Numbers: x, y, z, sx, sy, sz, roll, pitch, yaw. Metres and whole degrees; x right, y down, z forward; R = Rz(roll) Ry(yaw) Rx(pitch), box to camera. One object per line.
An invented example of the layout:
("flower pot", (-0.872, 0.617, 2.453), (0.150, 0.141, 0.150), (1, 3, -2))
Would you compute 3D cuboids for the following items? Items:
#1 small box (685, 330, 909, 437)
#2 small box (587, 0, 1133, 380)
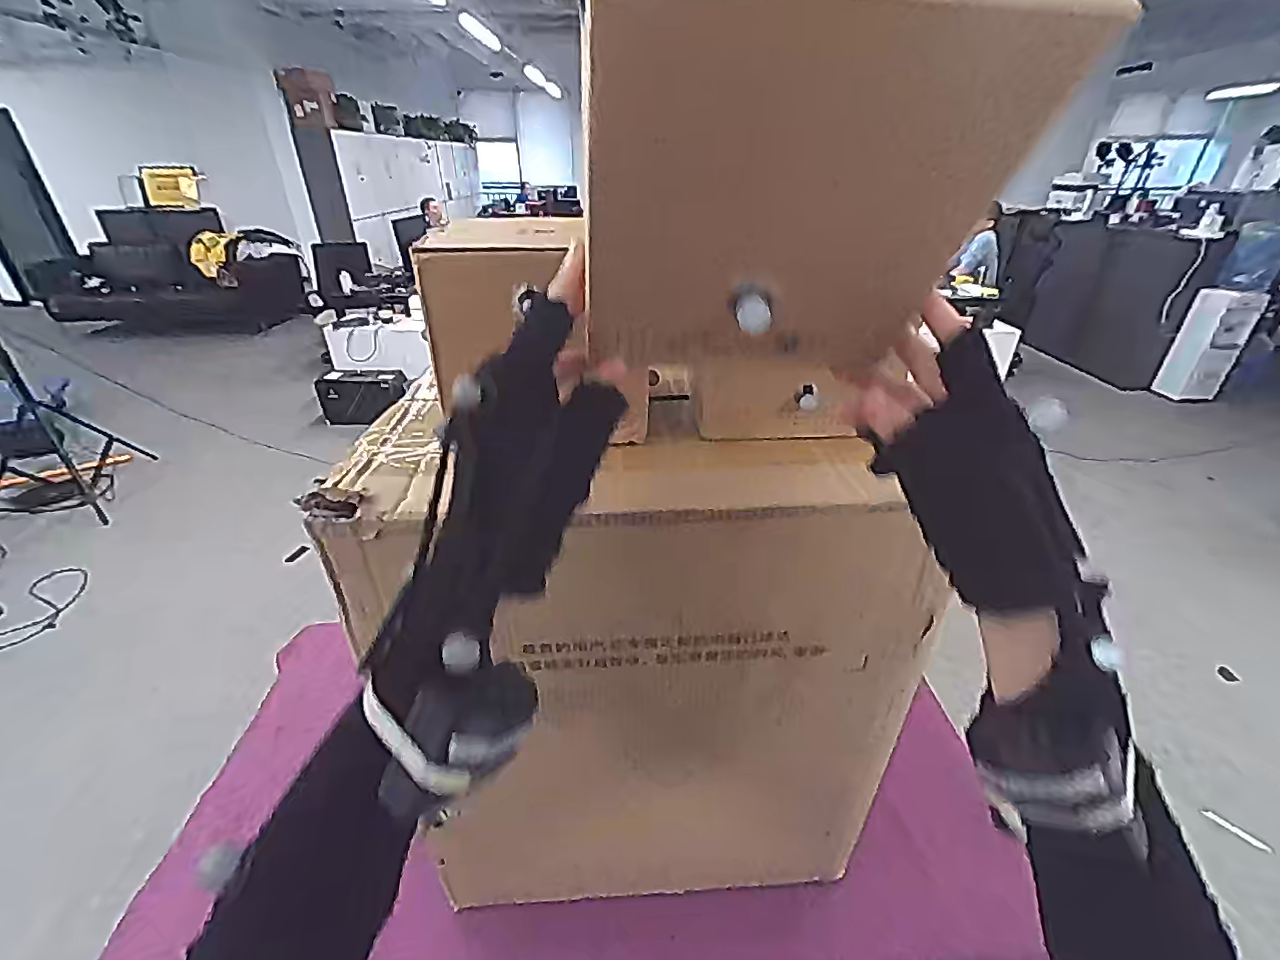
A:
("small box", (0.139, -0.150, 0.520), (0.179, 0.176, 0.168), (-2, 30, -1))
("small box", (0.058, -0.171, 0.265), (0.168, 0.176, 0.179), (-1, 64, -6))
